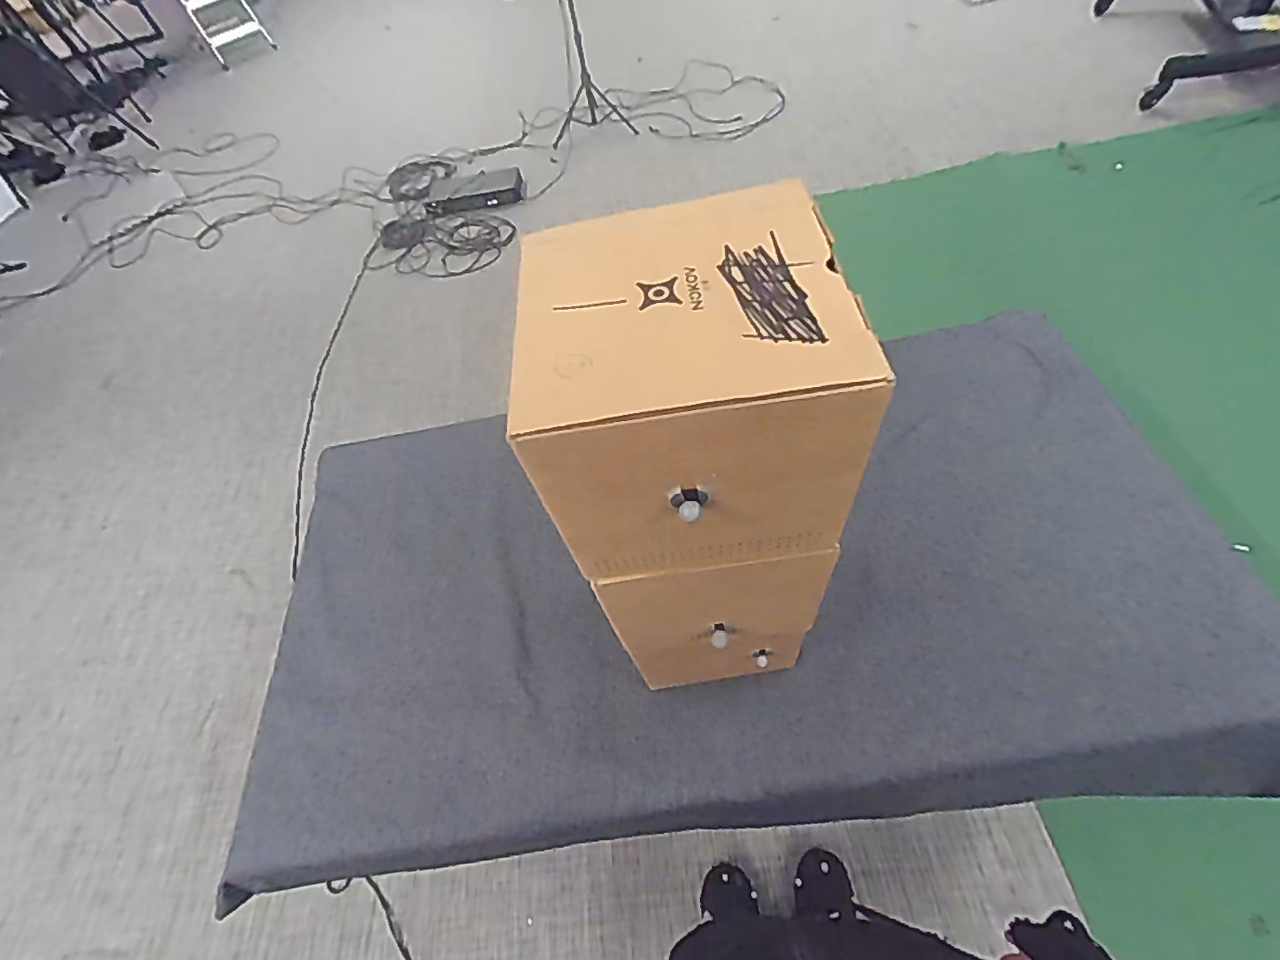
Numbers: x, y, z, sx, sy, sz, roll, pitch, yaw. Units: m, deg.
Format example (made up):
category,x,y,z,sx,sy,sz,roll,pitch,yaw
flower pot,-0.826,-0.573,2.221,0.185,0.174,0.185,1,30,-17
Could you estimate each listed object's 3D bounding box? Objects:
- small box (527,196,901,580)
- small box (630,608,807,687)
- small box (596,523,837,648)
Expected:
category,x,y,z,sx,sy,sz,roll,pitch,yaw
small box,0.033,-0.050,0.357,0.179,0.176,0.168,-10,56,1
small box,0.078,0.128,0.630,0.179,0.176,0.168,-12,55,3
small box,0.056,0.041,0.493,0.179,0.176,0.168,-9,55,3
